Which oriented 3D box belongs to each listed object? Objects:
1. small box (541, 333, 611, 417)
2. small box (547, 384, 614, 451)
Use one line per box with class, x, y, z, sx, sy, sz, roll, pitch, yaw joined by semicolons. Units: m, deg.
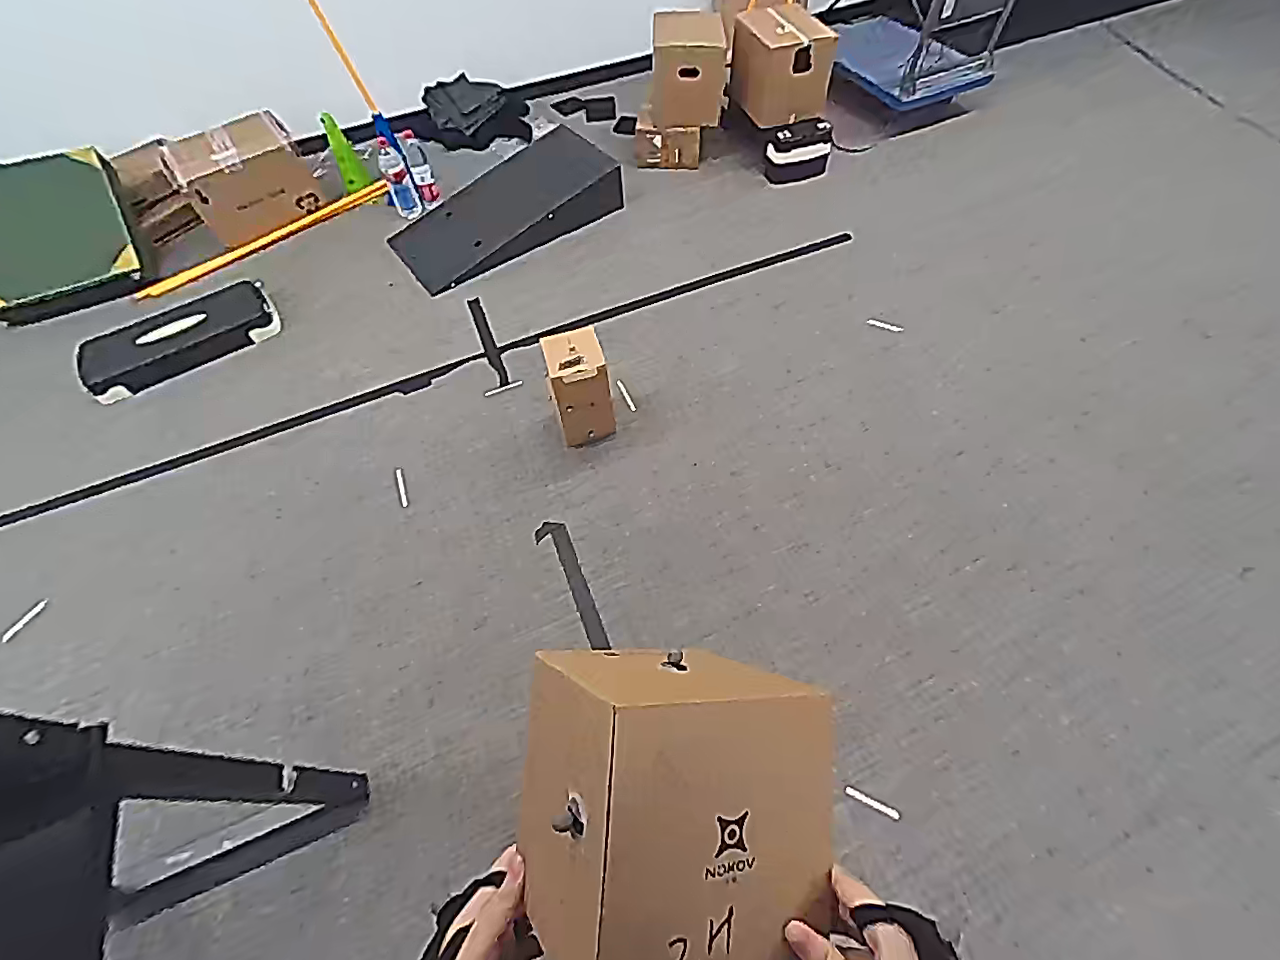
small box;-0.190;-0.309;1.628;0.168;0.176;0.179;-15;57;-7
small box;-0.190;-0.222;1.768;0.179;0.176;0.168;-18;58;-10
